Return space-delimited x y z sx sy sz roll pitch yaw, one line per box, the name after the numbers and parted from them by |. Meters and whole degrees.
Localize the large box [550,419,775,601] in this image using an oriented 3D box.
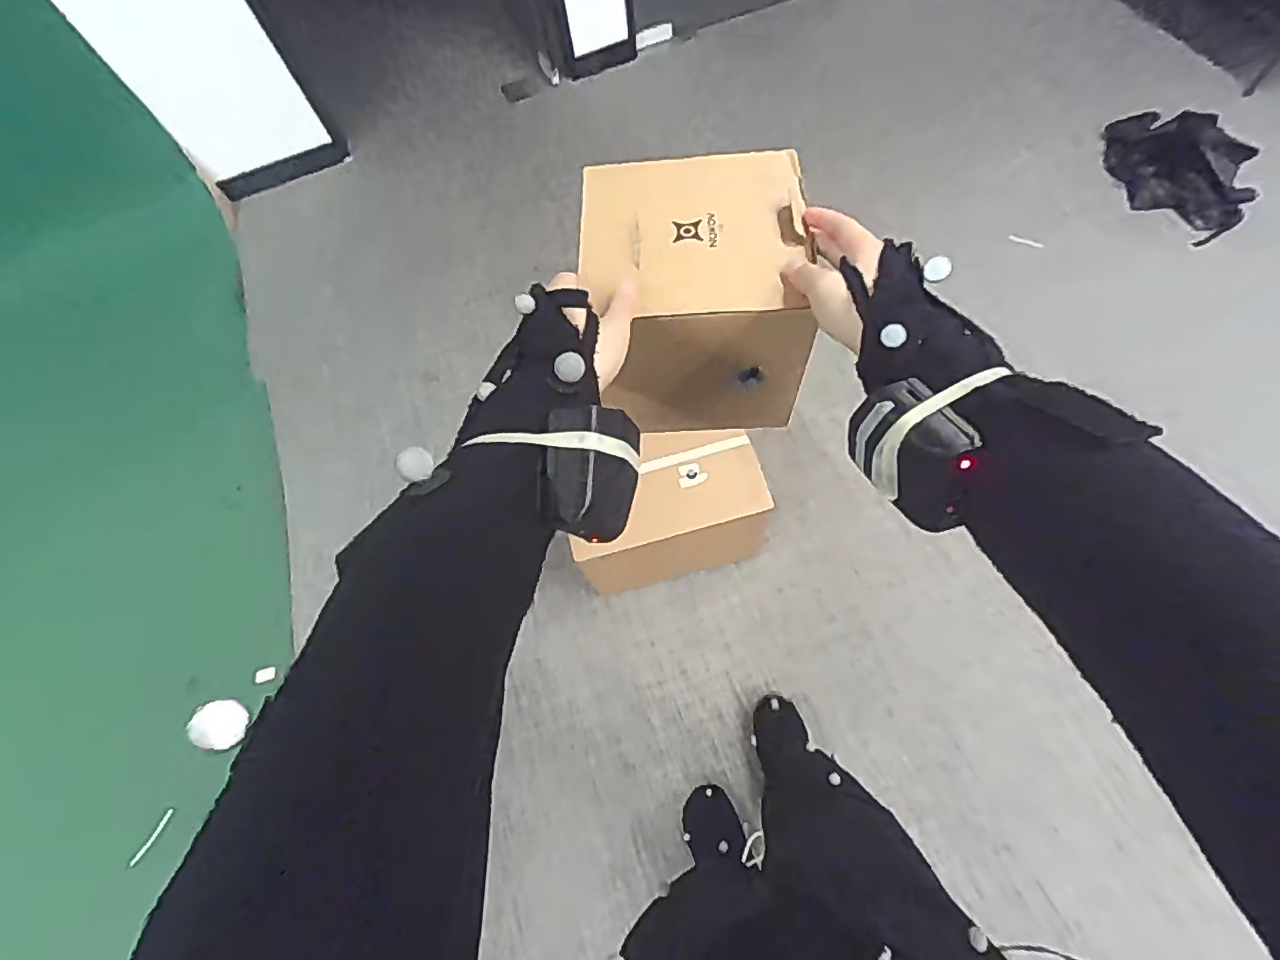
0.046 0.047 1.235 0.408 0.320 0.320 -15 65 -2 | large box

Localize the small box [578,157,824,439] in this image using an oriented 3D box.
0.049 -0.150 0.485 0.179 0.176 0.168 -3 64 6 | small box
